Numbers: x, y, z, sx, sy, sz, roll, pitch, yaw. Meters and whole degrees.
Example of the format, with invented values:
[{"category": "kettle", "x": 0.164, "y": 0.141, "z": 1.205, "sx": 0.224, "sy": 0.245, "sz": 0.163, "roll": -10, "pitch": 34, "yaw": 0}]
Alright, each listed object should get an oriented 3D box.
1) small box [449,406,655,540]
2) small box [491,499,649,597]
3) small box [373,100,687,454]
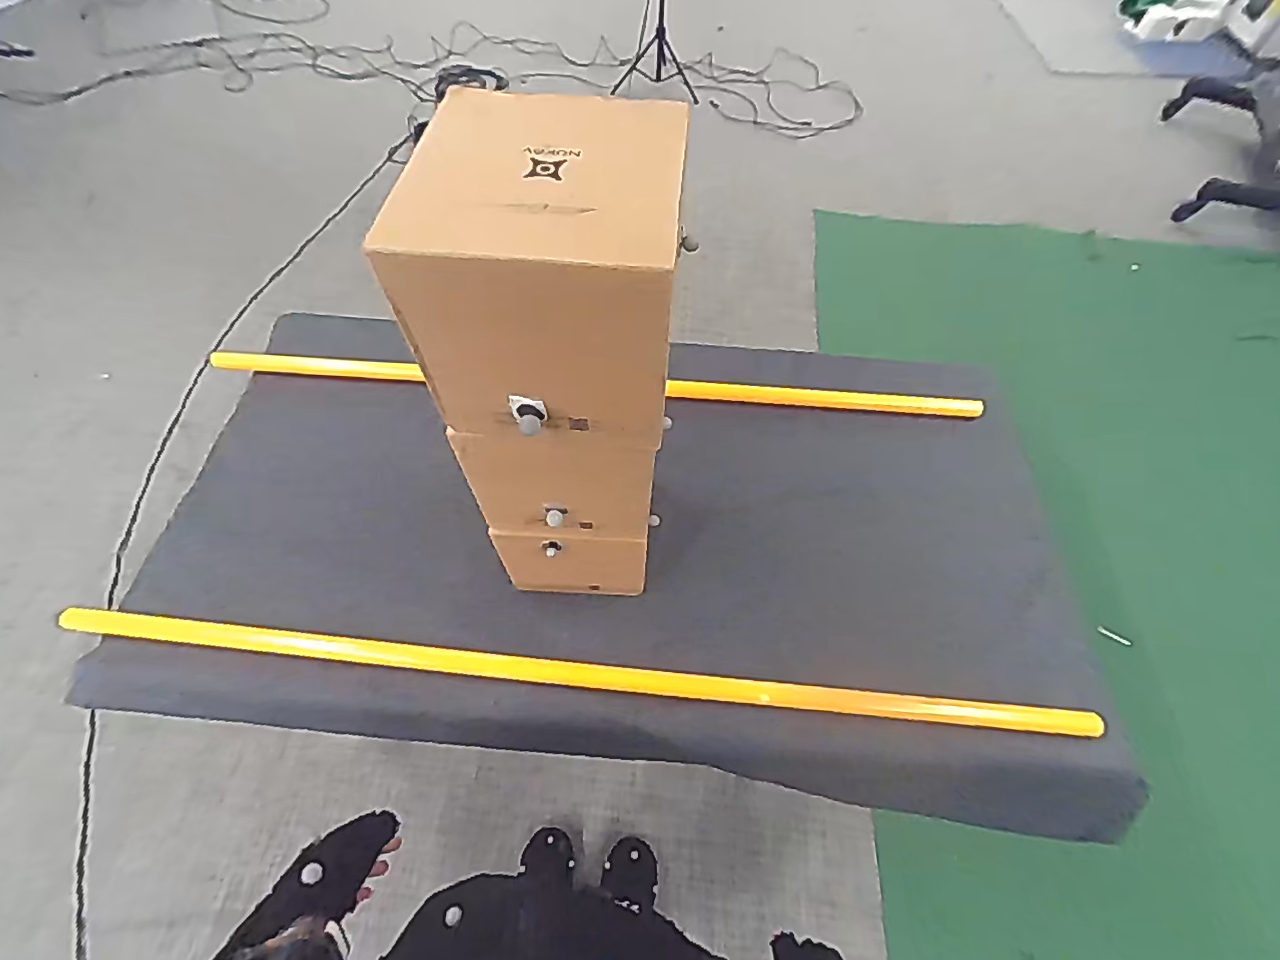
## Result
[{"category": "small box", "x": -0.067, "y": -0.059, "z": 0.536, "sx": 0.168, "sy": 0.176, "sz": 0.179, "roll": 4, "pitch": 59, "yaw": 1}, {"category": "small box", "x": -0.072, "y": 0.030, "z": 0.674, "sx": 0.168, "sy": 0.176, "sz": 0.179, "roll": 3, "pitch": 58, "yaw": 1}, {"category": "small box", "x": -0.057, "y": -0.141, "z": 0.397, "sx": 0.168, "sy": 0.176, "sz": 0.179, "roll": 4, "pitch": 59, "yaw": 2}]
